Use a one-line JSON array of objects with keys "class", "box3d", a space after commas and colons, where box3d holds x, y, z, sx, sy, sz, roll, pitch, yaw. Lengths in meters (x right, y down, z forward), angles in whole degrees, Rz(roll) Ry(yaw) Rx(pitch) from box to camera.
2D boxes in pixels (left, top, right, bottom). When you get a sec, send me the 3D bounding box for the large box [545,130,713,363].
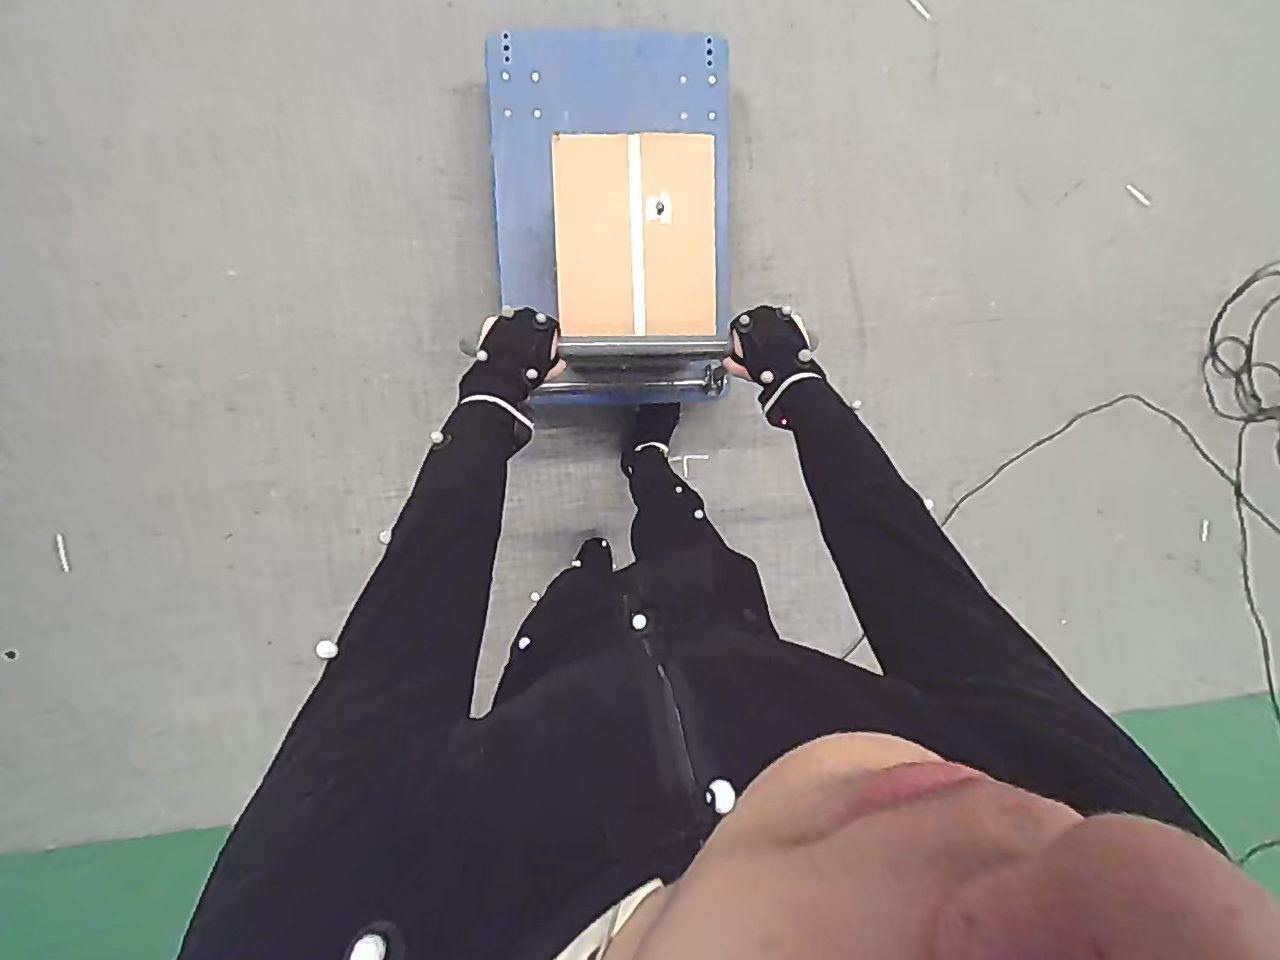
[{"class": "large box", "box3d": [-0.027, -0.484, 1.199, 0.320, 0.320, 0.408, -3, 96, -5]}]
